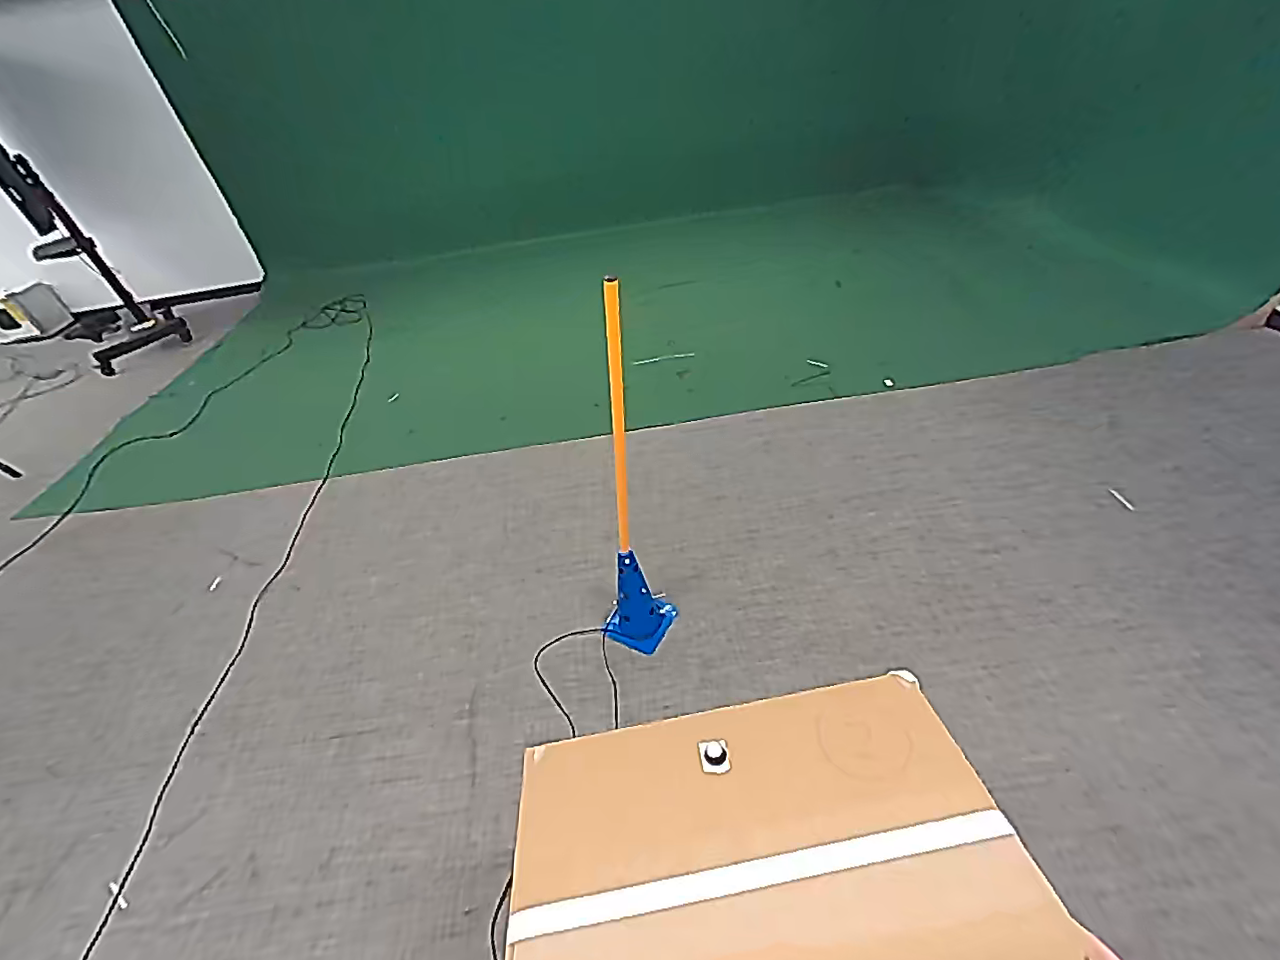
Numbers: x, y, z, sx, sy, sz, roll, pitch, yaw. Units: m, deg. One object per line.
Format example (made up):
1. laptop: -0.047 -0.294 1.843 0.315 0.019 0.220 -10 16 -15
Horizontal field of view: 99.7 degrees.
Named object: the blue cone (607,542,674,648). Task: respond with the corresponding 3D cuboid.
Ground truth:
1. blue cone: -0.018 0.329 1.675 0.192 0.380 0.193 14 45 24
